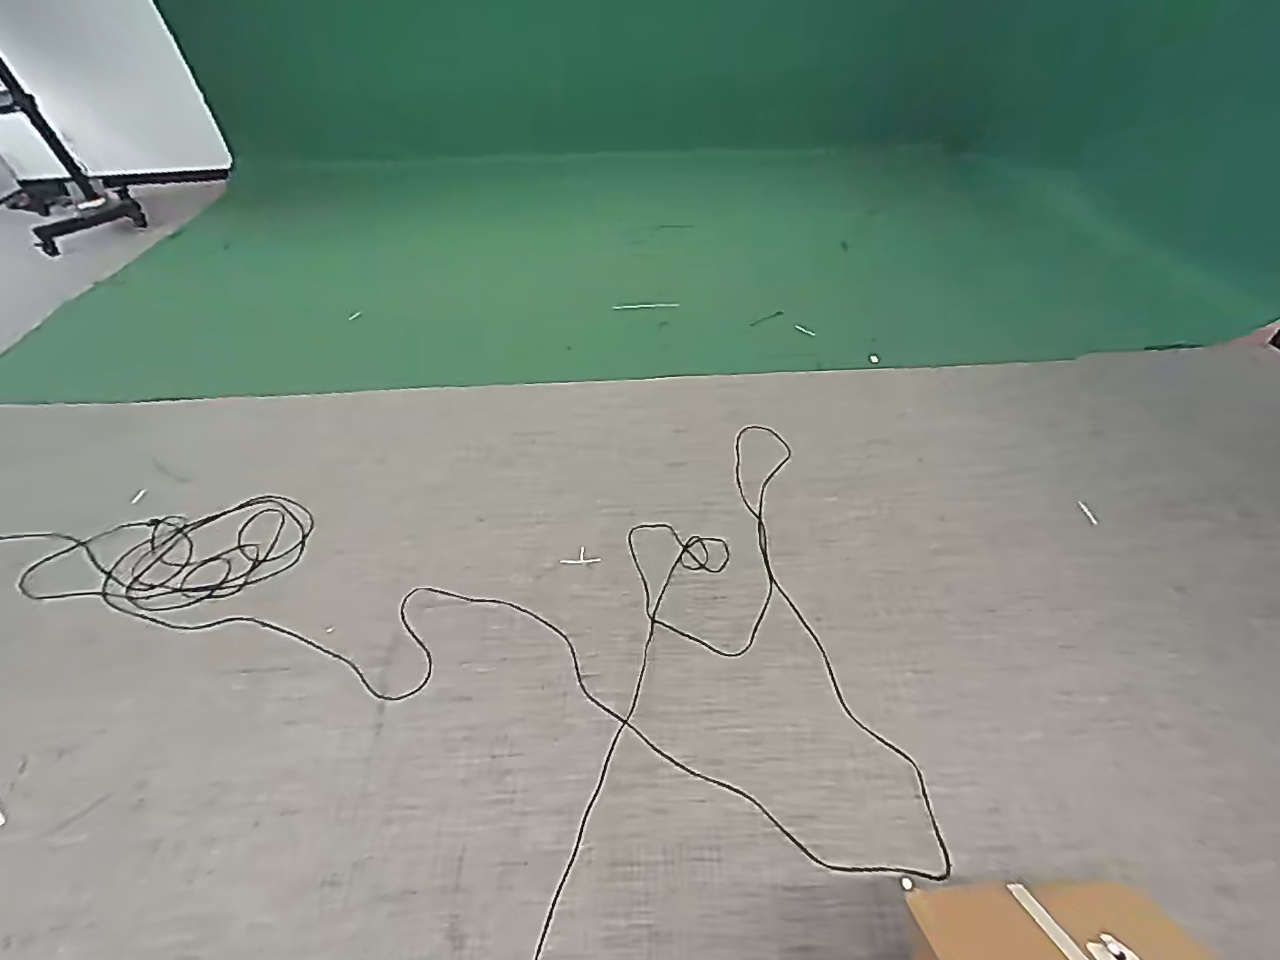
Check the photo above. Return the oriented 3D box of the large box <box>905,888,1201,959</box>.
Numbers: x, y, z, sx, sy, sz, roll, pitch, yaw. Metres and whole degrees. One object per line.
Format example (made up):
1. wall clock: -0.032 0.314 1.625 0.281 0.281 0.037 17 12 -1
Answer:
1. large box: 0.545 0.746 0.586 0.320 0.408 0.320 -5 87 5
